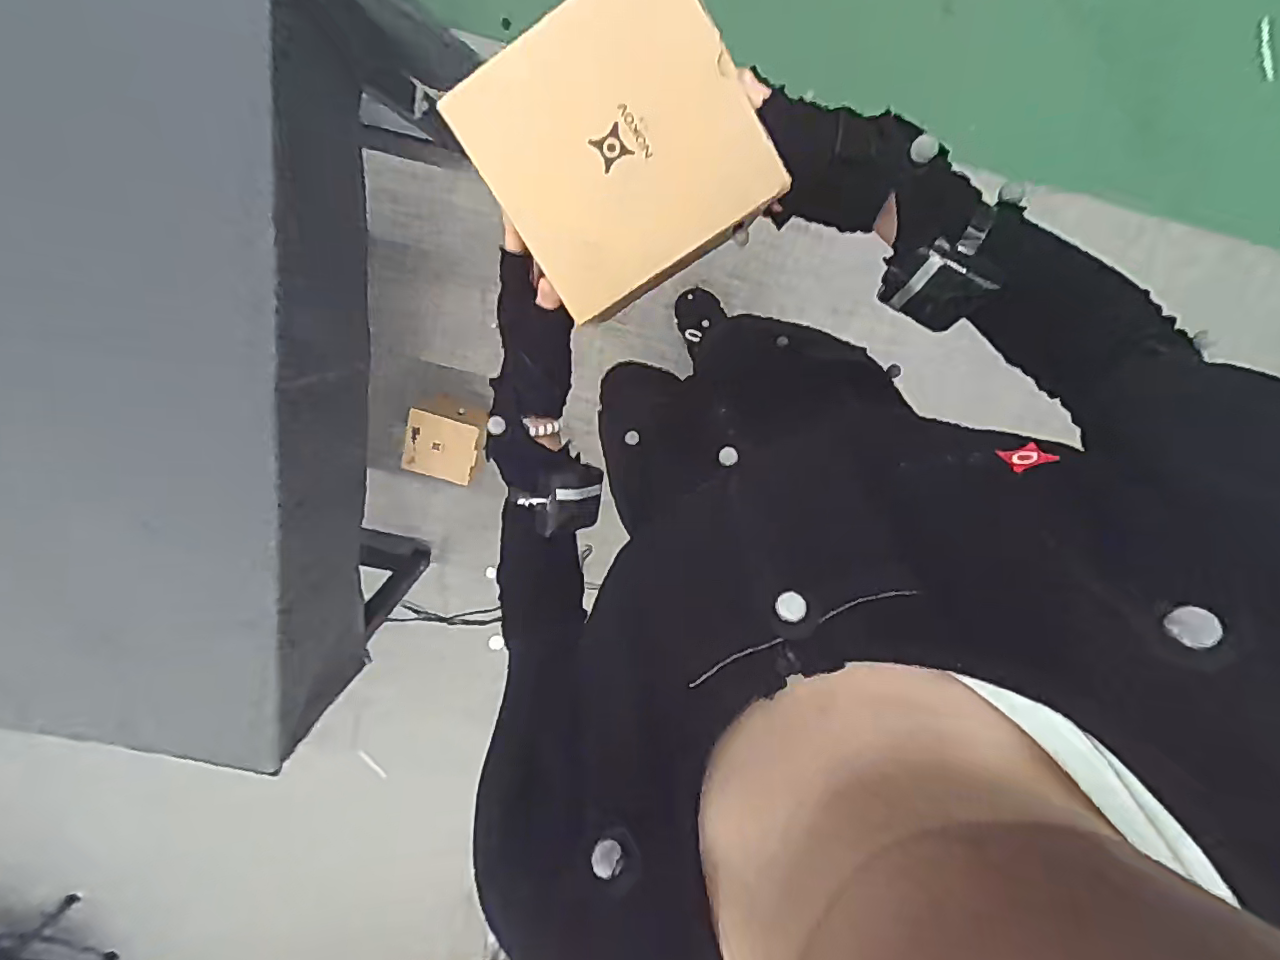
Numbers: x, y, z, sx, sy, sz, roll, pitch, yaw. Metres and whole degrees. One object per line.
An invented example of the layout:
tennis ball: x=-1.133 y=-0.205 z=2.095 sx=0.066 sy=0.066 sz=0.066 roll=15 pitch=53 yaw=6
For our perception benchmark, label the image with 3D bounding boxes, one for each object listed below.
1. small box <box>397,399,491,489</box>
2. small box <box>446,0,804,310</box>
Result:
small box: x=-0.500 y=-0.100 z=1.400 sx=0.179 sy=0.176 sz=0.168 roll=16 pitch=109 yaw=-5
small box: x=-0.007 y=-0.247 z=0.417 sx=0.179 sy=0.176 sz=0.168 roll=-31 pitch=103 yaw=7
